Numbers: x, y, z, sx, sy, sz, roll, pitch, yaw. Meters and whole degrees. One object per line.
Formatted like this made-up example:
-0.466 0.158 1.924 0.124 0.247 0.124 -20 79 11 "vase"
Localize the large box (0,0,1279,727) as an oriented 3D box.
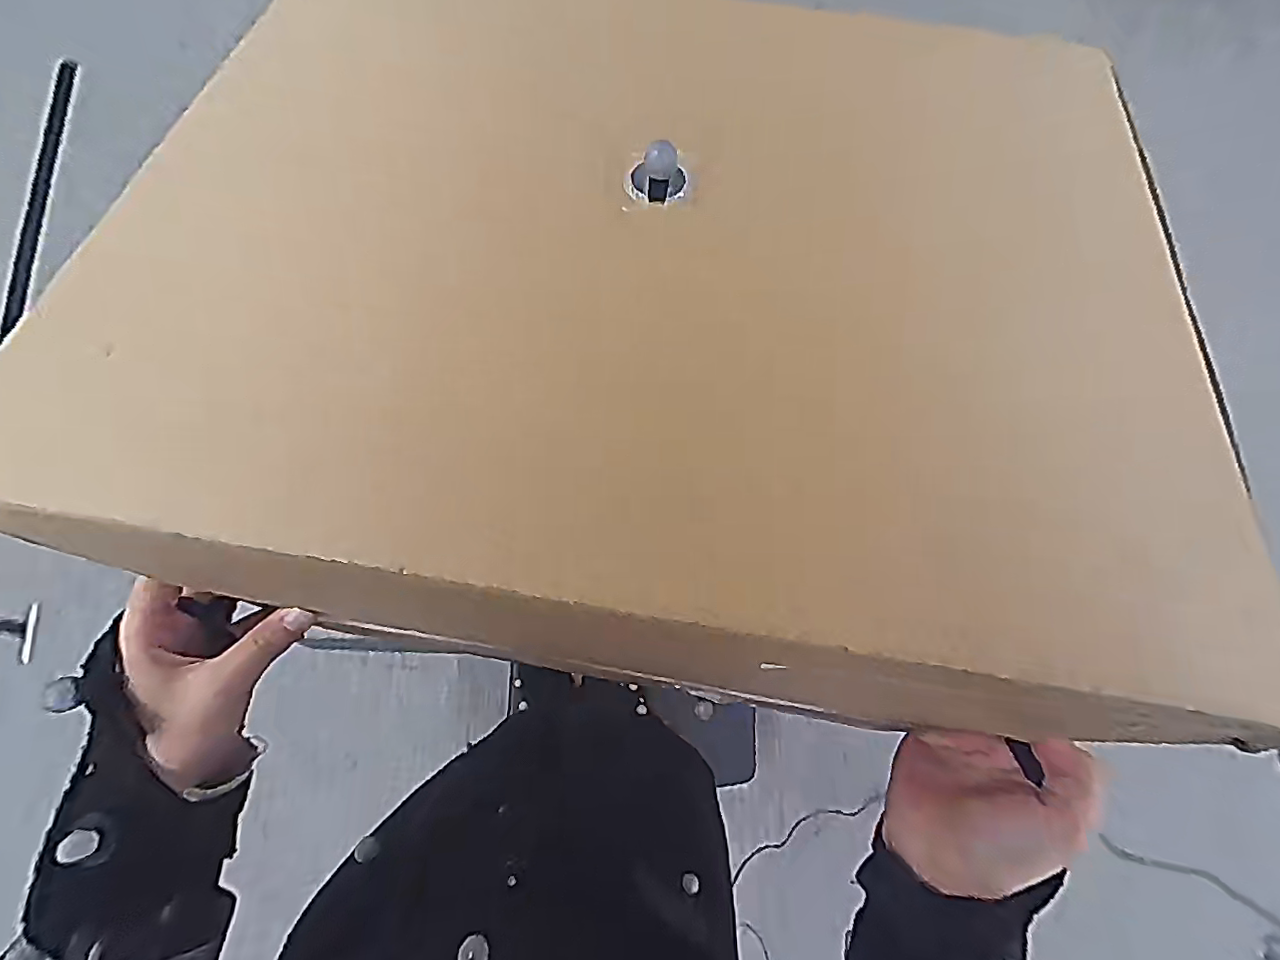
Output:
-0.005 -0.048 0.345 0.408 0.320 0.320 9 68 3 "large box"
